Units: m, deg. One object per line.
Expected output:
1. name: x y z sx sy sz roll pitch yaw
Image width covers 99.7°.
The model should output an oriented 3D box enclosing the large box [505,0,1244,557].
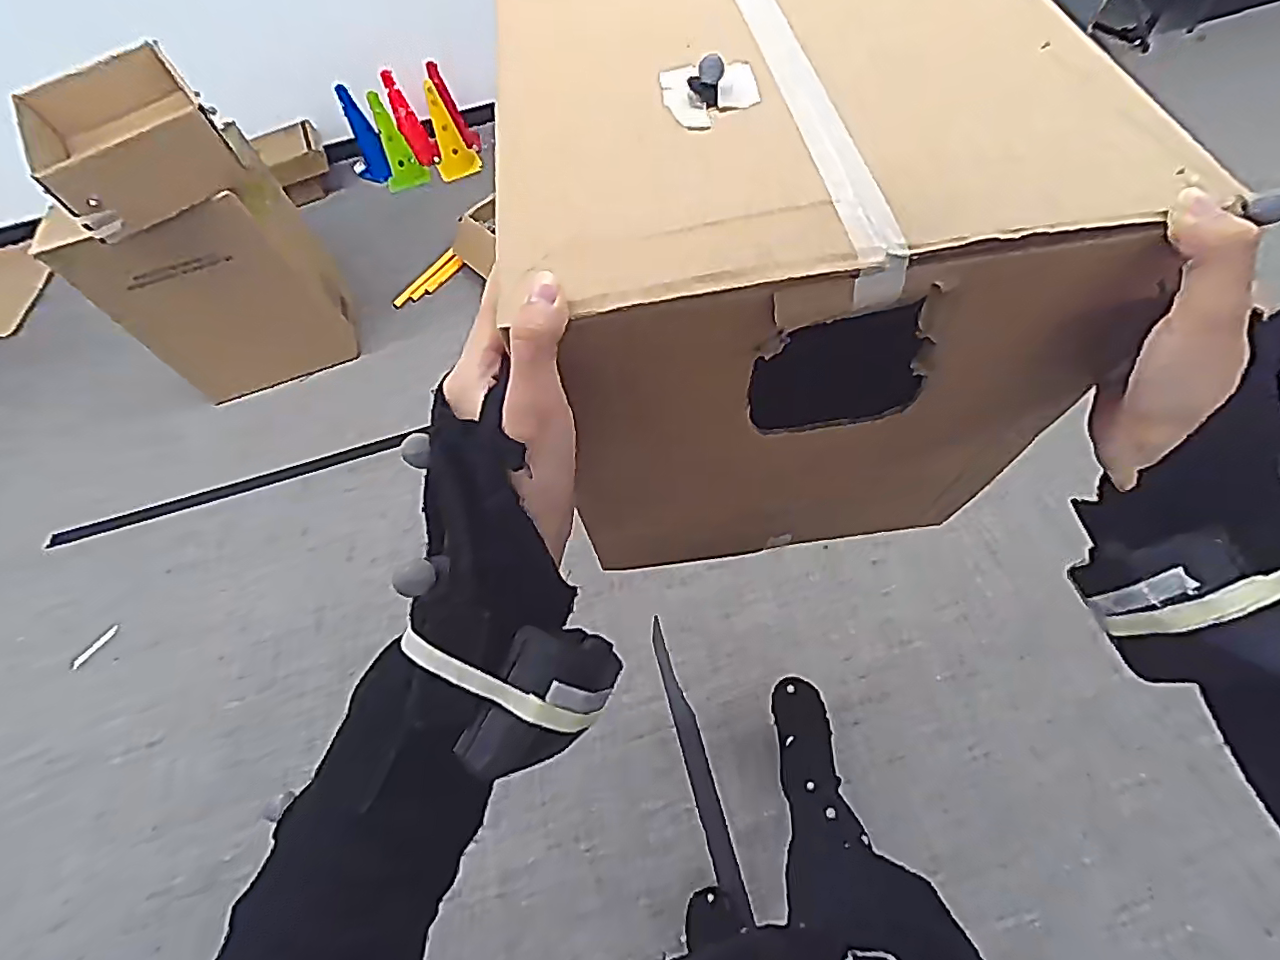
1. large box: 0.088 -0.192 0.450 0.320 0.320 0.408 -9 62 1
